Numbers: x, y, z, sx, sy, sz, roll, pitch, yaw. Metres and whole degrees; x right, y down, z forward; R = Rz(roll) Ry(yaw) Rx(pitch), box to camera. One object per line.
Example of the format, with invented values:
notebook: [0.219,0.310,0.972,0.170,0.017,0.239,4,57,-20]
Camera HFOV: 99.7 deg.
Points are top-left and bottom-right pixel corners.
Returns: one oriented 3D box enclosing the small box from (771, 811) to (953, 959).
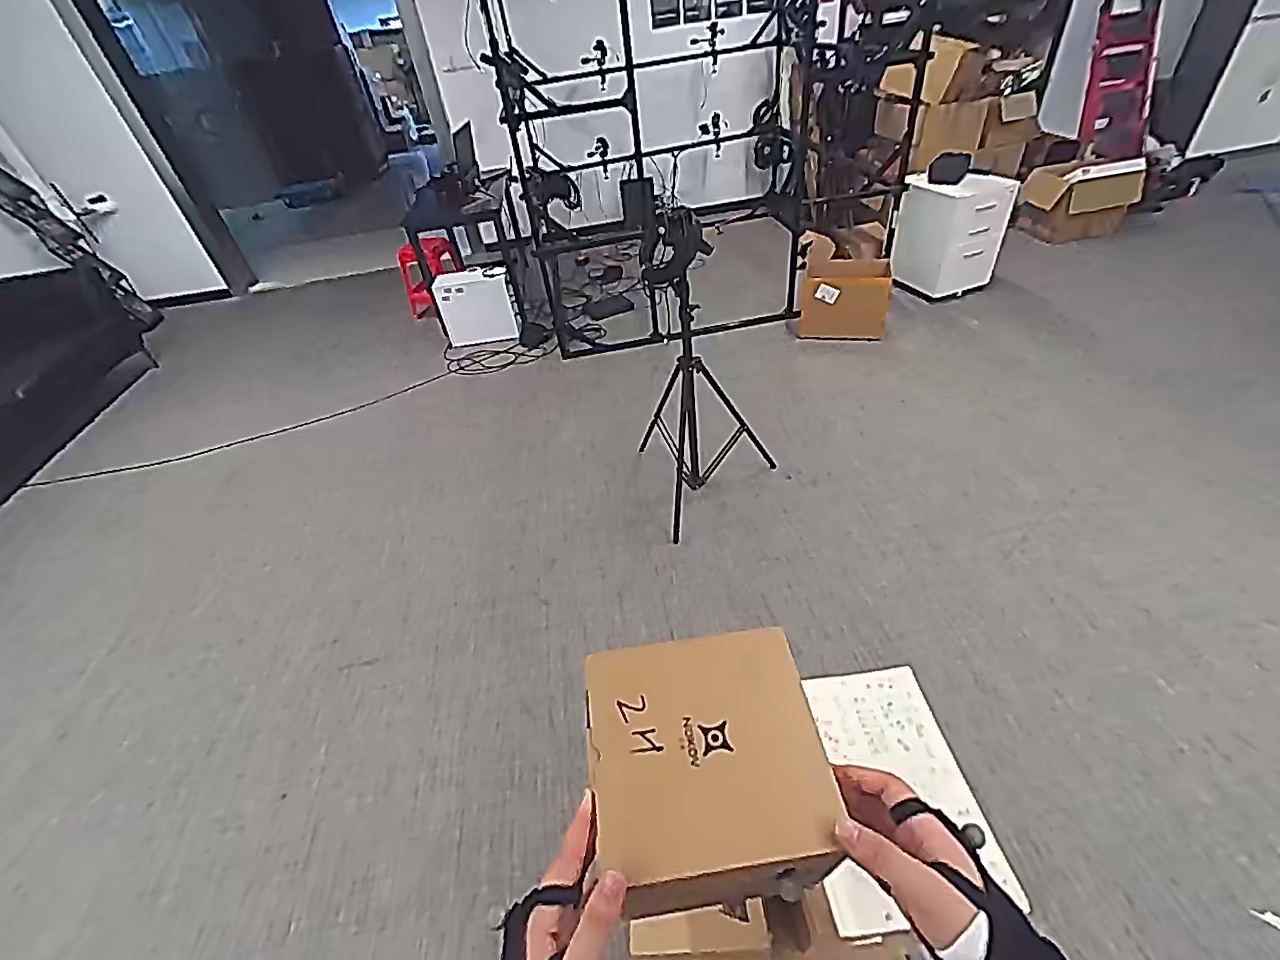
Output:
small box: [0.303,0.574,0.782,0.179,0.176,0.168,-10,42,-4]

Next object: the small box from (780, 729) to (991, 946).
small box: [0.286,0.448,0.681,0.168,0.176,0.179,-8,41,-3]

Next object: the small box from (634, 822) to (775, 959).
small box: [0.089,0.610,0.776,0.179,0.176,0.168,-7,42,4]
